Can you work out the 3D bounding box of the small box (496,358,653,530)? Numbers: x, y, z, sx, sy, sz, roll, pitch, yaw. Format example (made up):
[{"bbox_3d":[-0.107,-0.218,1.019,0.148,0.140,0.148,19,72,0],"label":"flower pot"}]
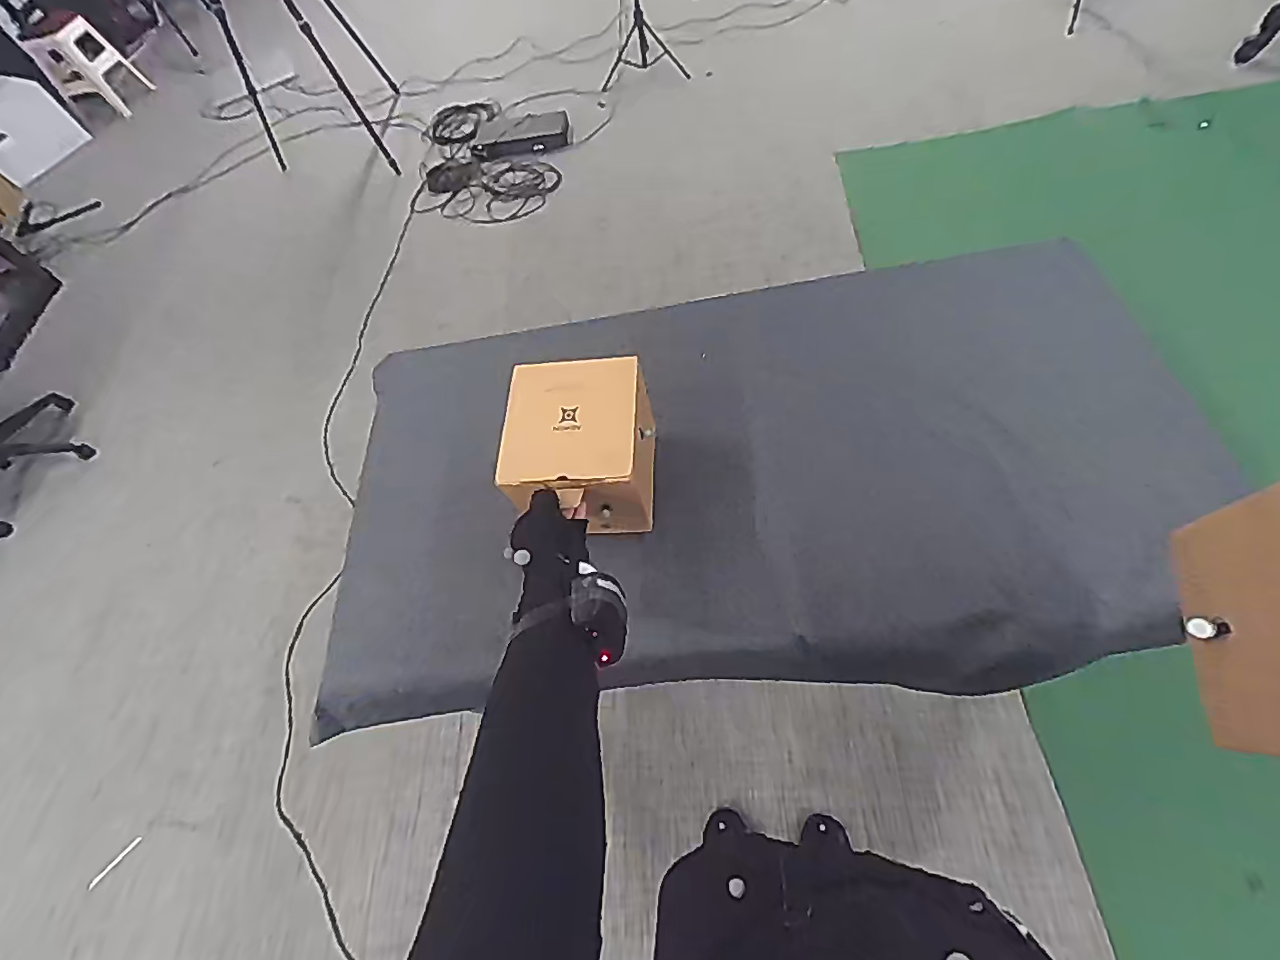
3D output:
[{"bbox_3d":[-0.074,-0.037,0.724,0.168,0.176,0.179,-3,62,8],"label":"small box"}]

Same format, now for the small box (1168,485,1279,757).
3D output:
[{"bbox_3d":[0.505,0.102,0.352,0.168,0.176,0.179,2,70,16],"label":"small box"}]
